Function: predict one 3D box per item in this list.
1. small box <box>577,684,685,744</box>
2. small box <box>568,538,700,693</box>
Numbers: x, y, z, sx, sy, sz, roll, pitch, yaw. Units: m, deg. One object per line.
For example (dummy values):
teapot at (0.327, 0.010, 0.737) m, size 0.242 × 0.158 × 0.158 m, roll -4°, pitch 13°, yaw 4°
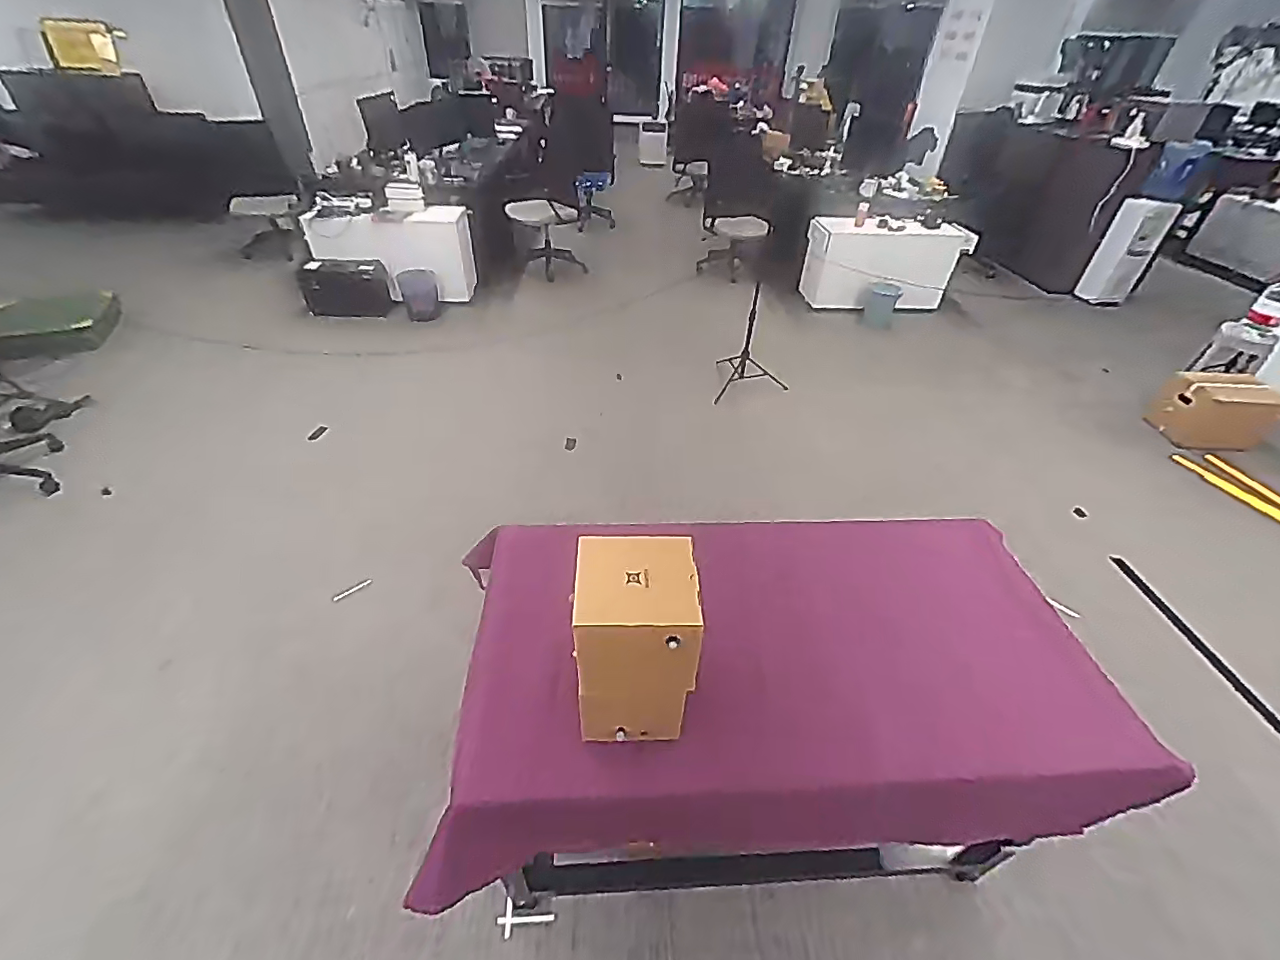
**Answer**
small box at (-0.018, 0.324, 0.920) m, size 0.168 × 0.176 × 0.179 m, roll 0°, pitch 40°, yaw -2°
small box at (-0.009, 0.204, 0.812) m, size 0.179 × 0.176 × 0.168 m, roll 0°, pitch 40°, yaw -2°
